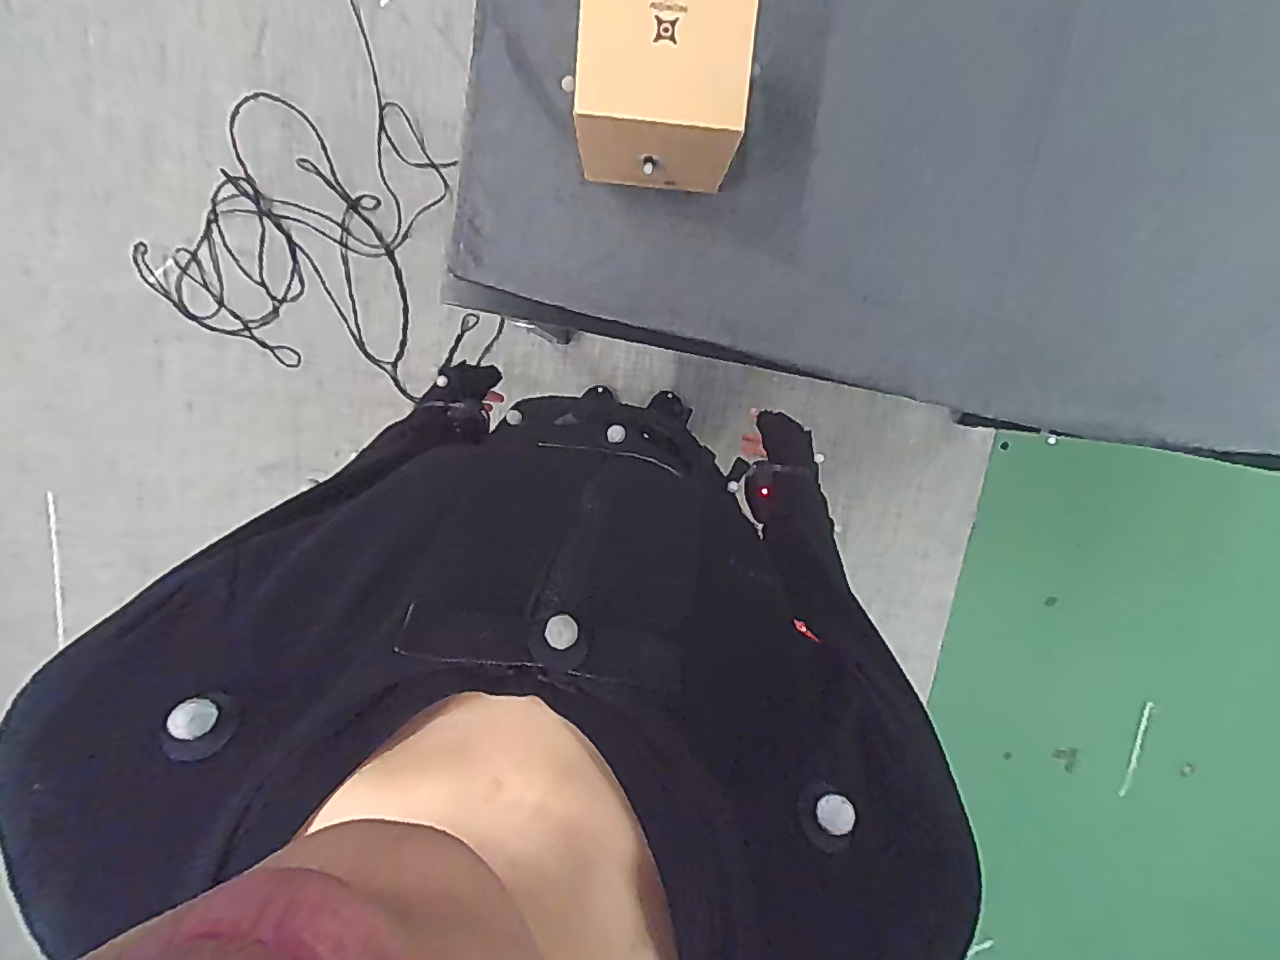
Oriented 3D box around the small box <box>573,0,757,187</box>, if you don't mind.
[{"bbox_3d":[0.023,-0.438,0.578,0.168,0.176,0.179,5,99,-3],"label":"small box"}]
